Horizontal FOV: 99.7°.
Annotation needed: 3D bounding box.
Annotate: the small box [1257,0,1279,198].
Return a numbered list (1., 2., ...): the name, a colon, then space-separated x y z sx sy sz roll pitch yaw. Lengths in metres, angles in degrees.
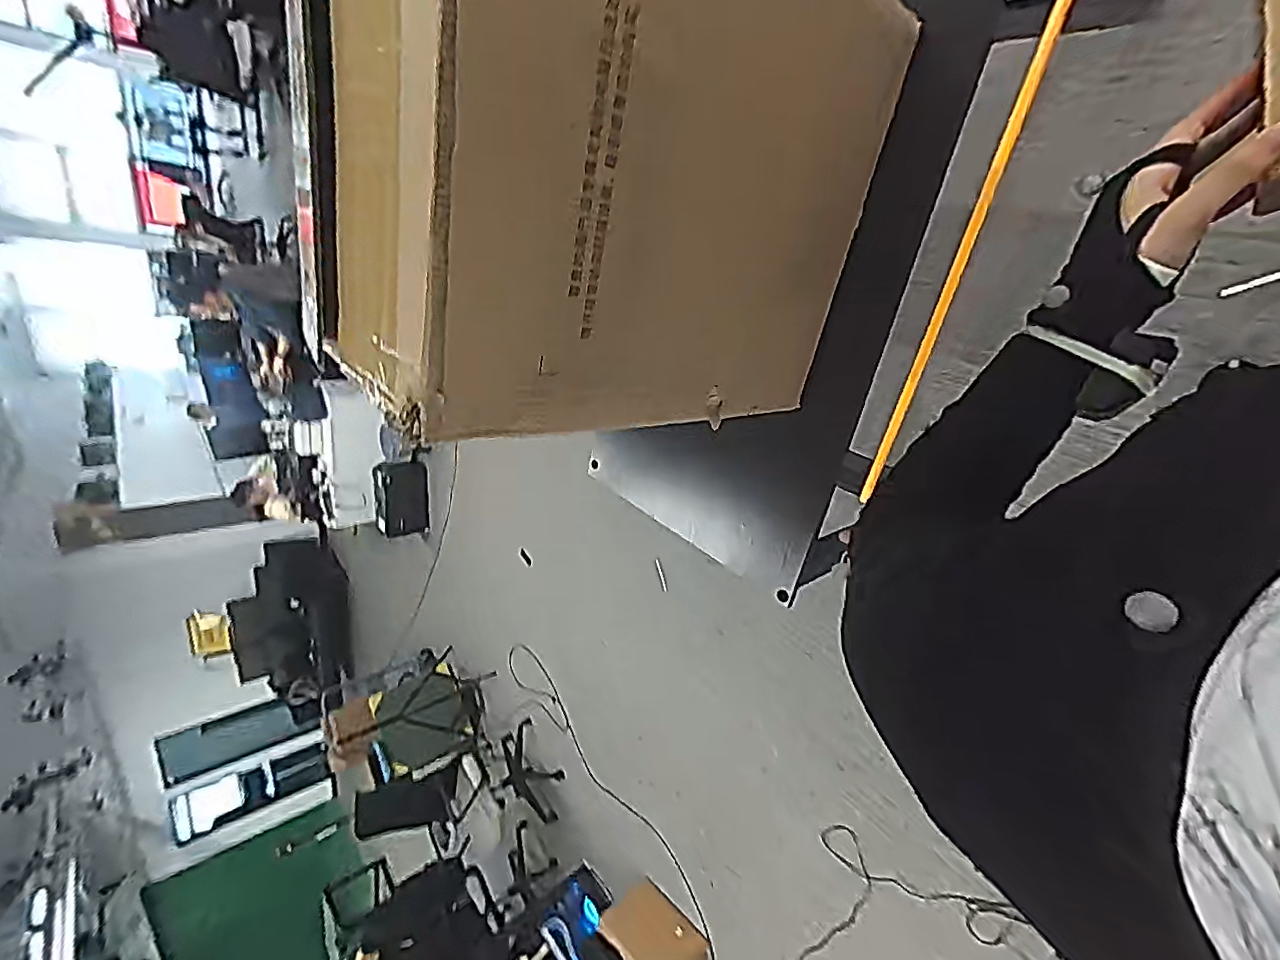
1. small box: 0.465 -0.271 0.294 0.168 0.176 0.179 1 104 49
